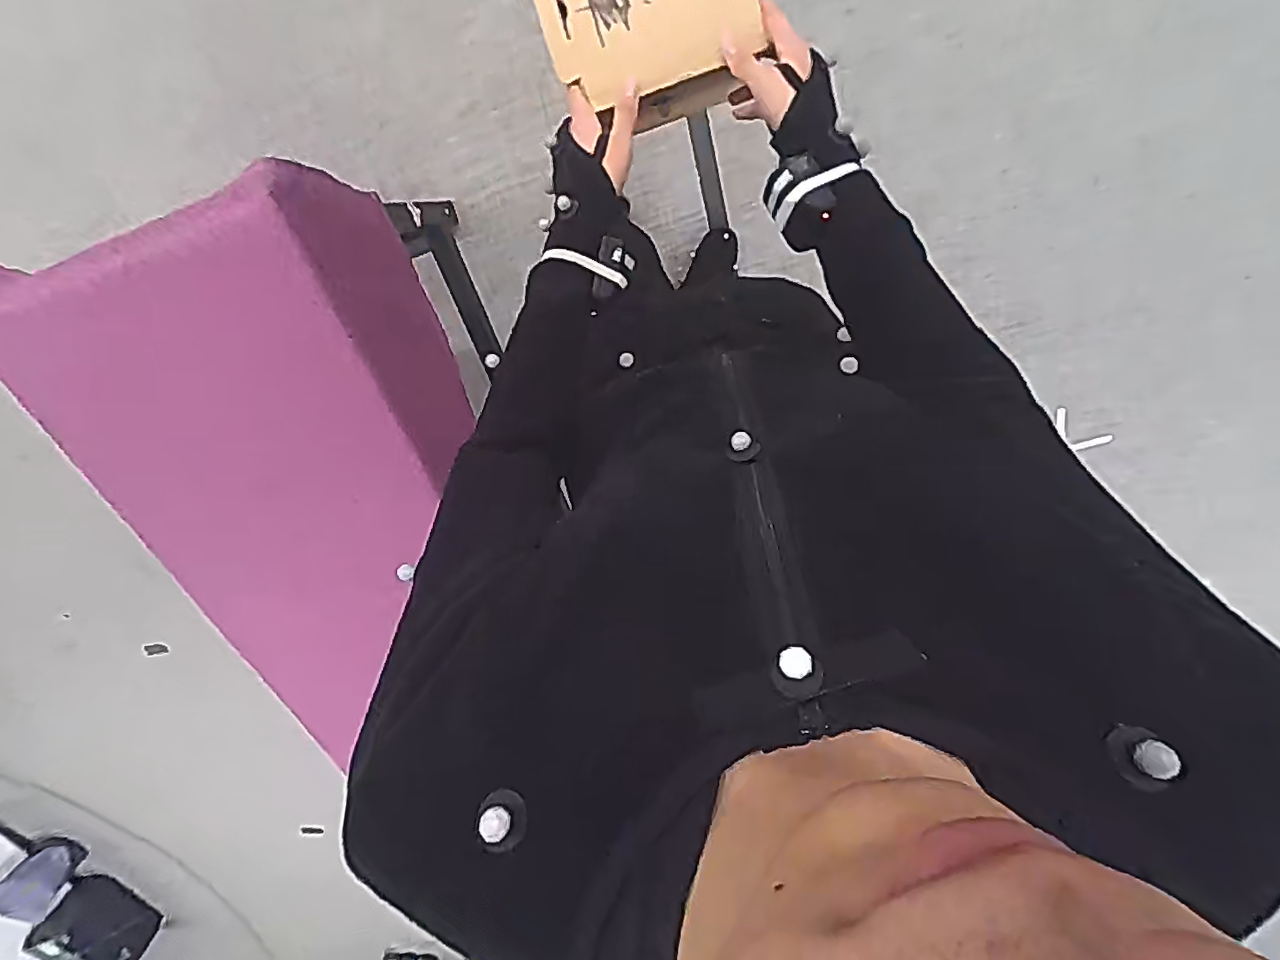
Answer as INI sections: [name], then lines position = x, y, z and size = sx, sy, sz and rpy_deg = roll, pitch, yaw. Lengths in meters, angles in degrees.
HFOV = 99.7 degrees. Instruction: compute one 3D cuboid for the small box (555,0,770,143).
[small box]
position = 0.010, -0.468, 0.546
size = 0.179, 0.176, 0.168
rpy_deg = -18, 112, 2
